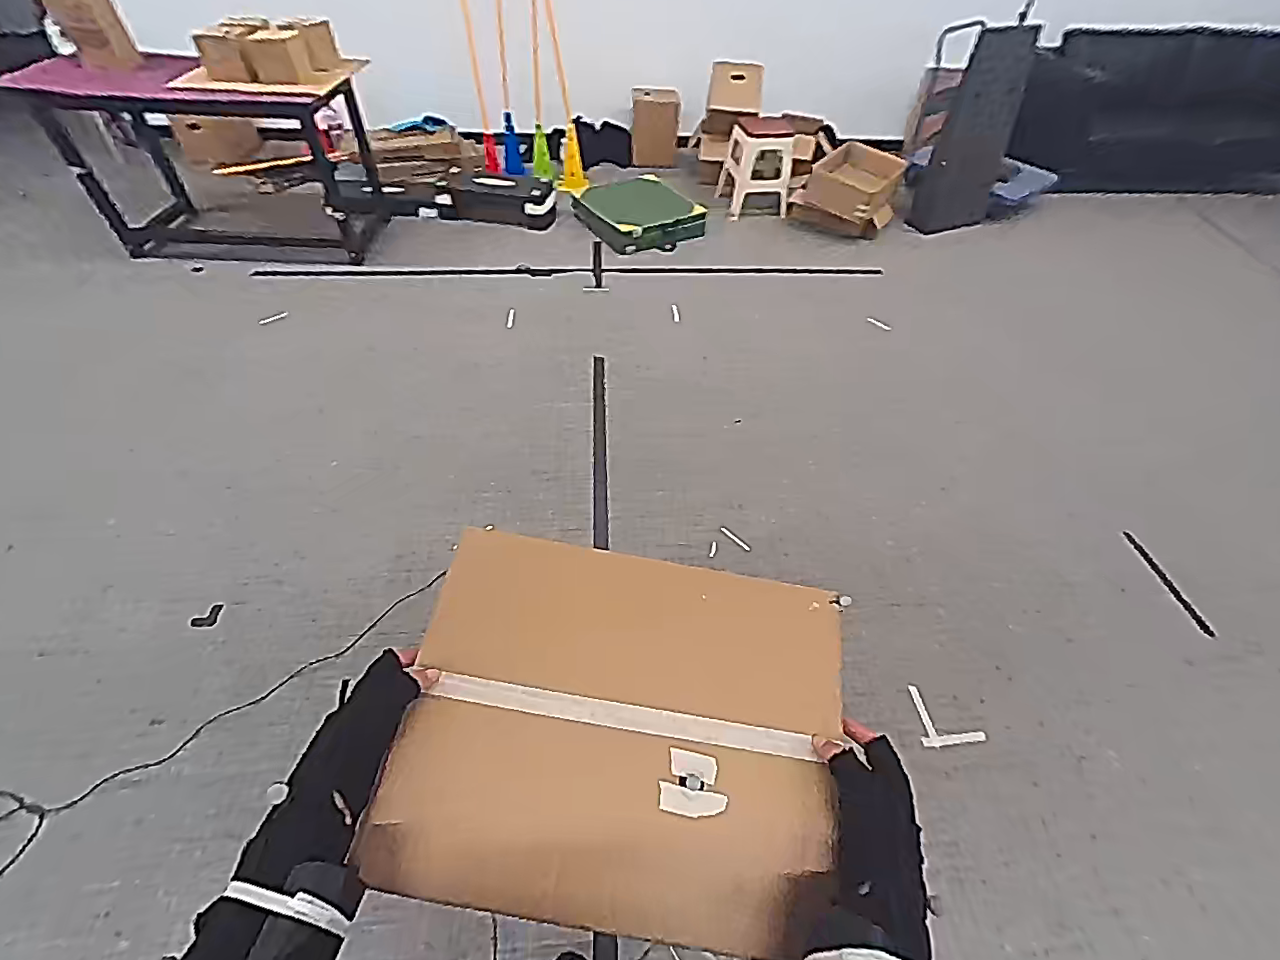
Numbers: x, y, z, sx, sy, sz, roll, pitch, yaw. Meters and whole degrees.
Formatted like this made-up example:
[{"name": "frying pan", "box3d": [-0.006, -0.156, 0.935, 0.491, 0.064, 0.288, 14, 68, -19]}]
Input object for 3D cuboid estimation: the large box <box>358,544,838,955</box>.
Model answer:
[{"name": "large box", "box3d": [-0.030, 0.300, 0.640, 0.408, 0.320, 0.320, 10, 61, -1]}]
